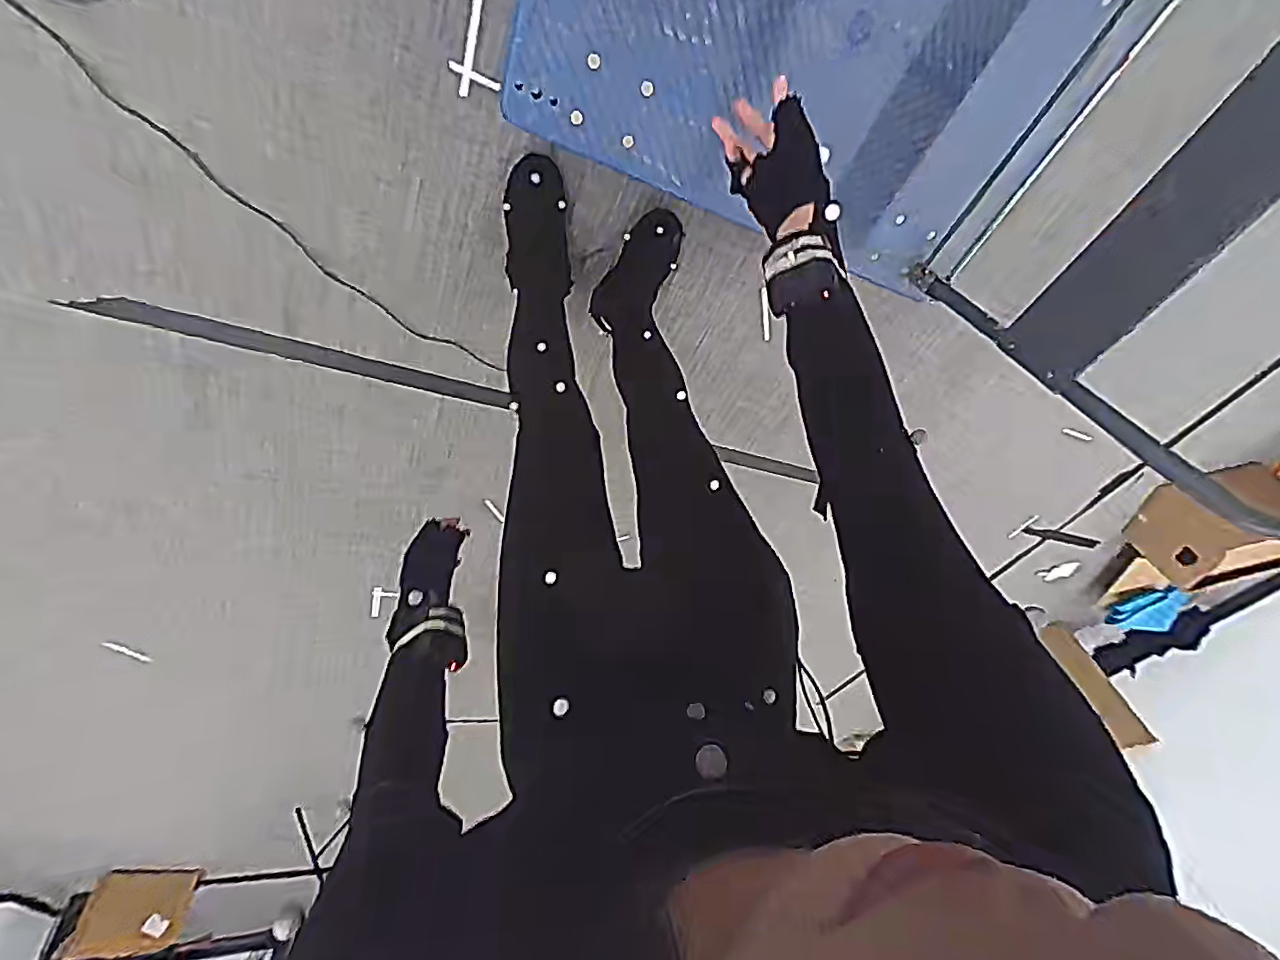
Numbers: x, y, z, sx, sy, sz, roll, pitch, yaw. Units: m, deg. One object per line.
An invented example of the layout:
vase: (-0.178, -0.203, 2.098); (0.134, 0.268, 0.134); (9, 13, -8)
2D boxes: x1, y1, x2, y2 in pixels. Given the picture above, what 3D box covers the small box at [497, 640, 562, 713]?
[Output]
small box: (-0.370, 0.661, 1.813); (0.168, 0.176, 0.179); (14, 131, -26)
